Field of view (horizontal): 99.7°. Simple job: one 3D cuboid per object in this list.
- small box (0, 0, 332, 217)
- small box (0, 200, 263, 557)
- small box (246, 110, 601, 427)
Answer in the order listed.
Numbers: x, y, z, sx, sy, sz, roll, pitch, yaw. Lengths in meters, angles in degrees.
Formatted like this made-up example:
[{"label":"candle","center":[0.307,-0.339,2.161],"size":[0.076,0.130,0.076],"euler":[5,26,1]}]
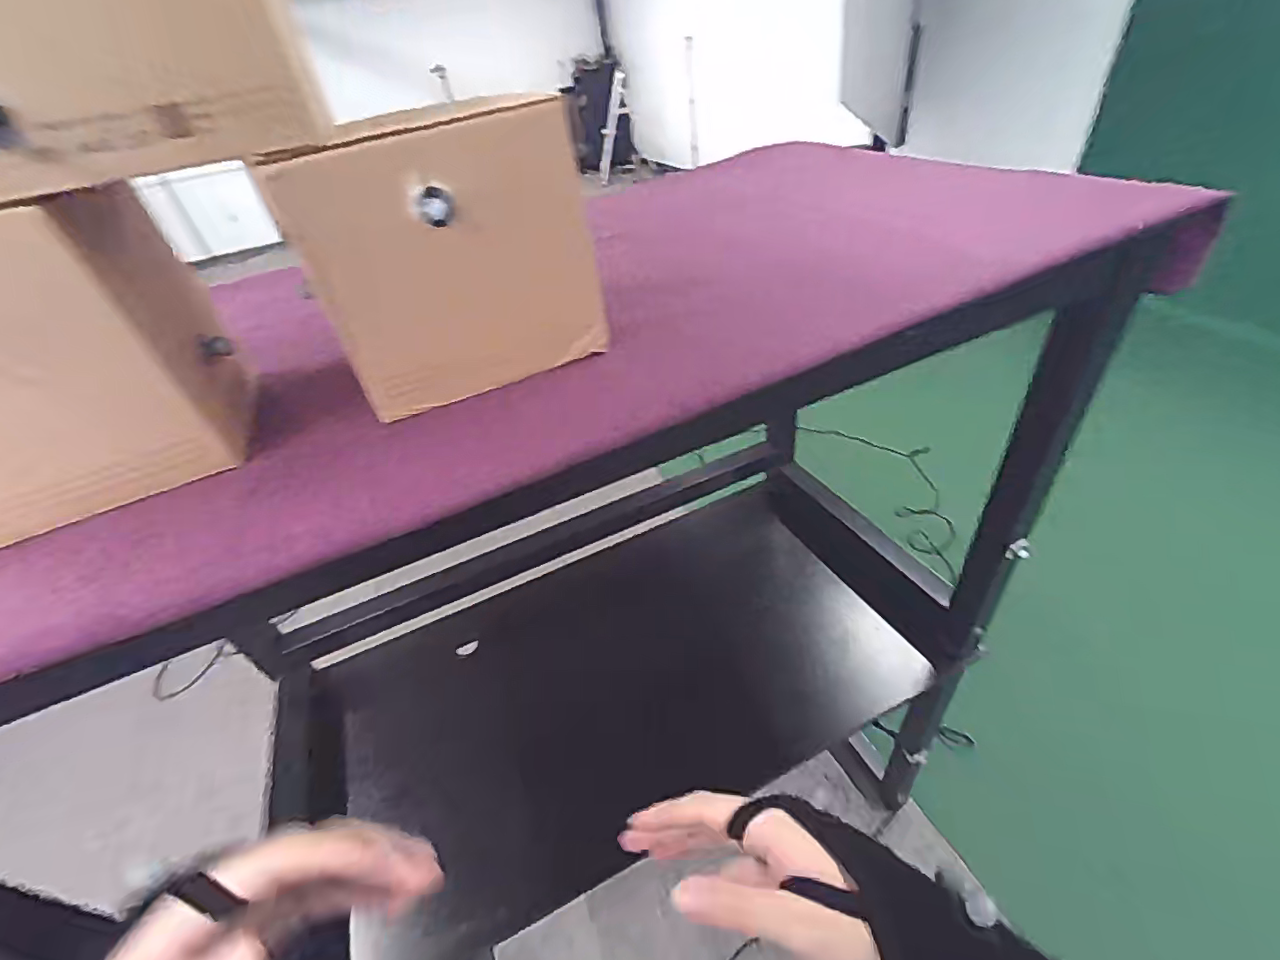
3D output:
[{"label":"small box","center":[-0.289,-0.251,0.288],"size":[0.168,0.176,0.179],"euler":[-20,39,-13]},{"label":"small box","center":[-0.393,-0.072,0.353],"size":[0.179,0.176,0.168],"euler":[-24,42,-15]},{"label":"small box","center":[-0.148,-0.164,0.410],"size":[0.179,0.176,0.168],"euler":[-22,40,-13]}]
